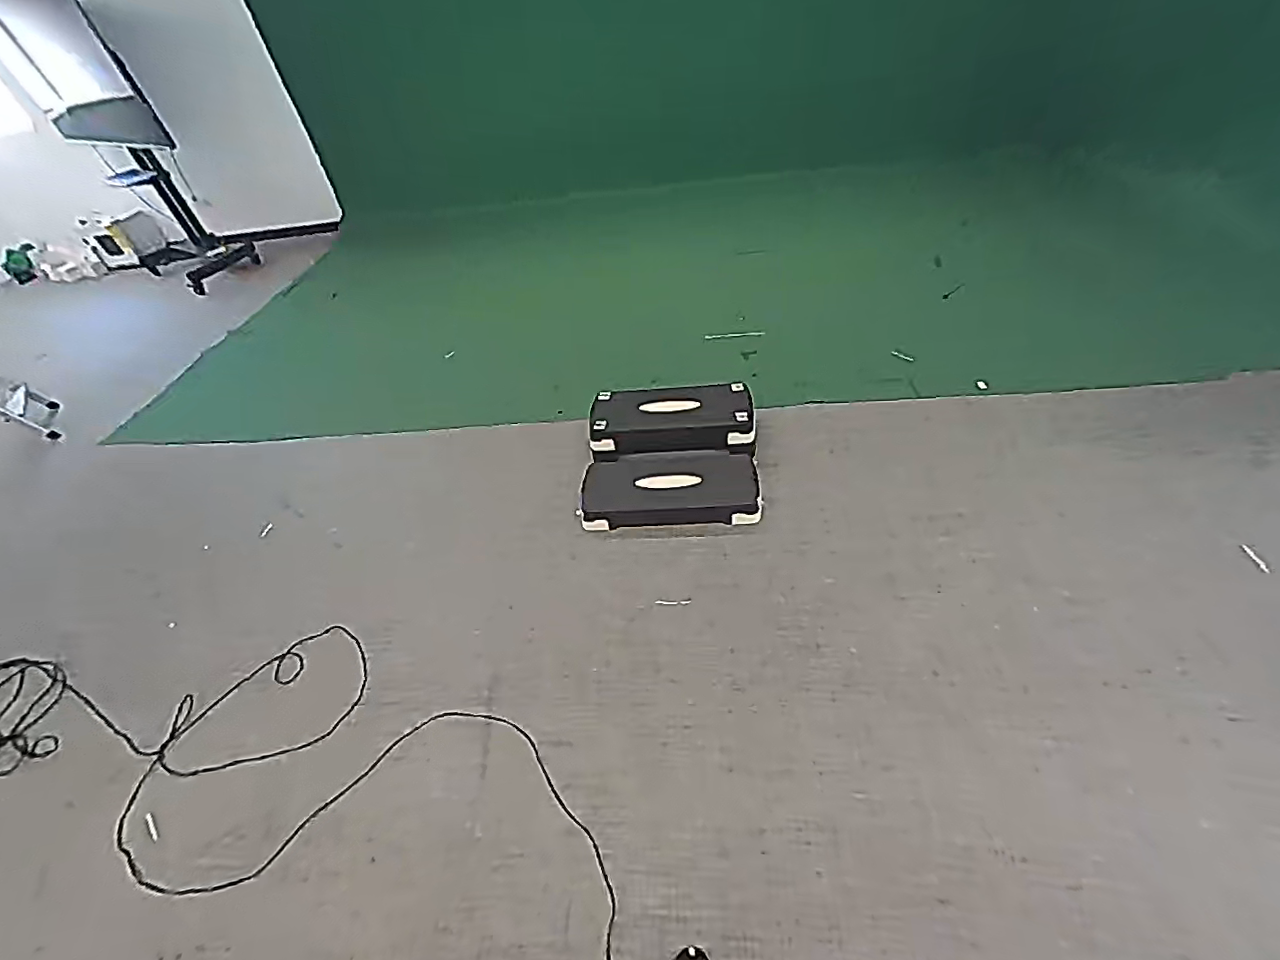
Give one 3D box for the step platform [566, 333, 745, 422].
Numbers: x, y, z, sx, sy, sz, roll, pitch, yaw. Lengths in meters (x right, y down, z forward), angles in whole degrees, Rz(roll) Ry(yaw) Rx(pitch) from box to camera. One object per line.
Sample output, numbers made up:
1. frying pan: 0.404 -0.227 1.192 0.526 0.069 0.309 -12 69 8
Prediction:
1. step platform: 0.066 -0.402 2.136 0.684 0.204 0.286 -3 45 7
